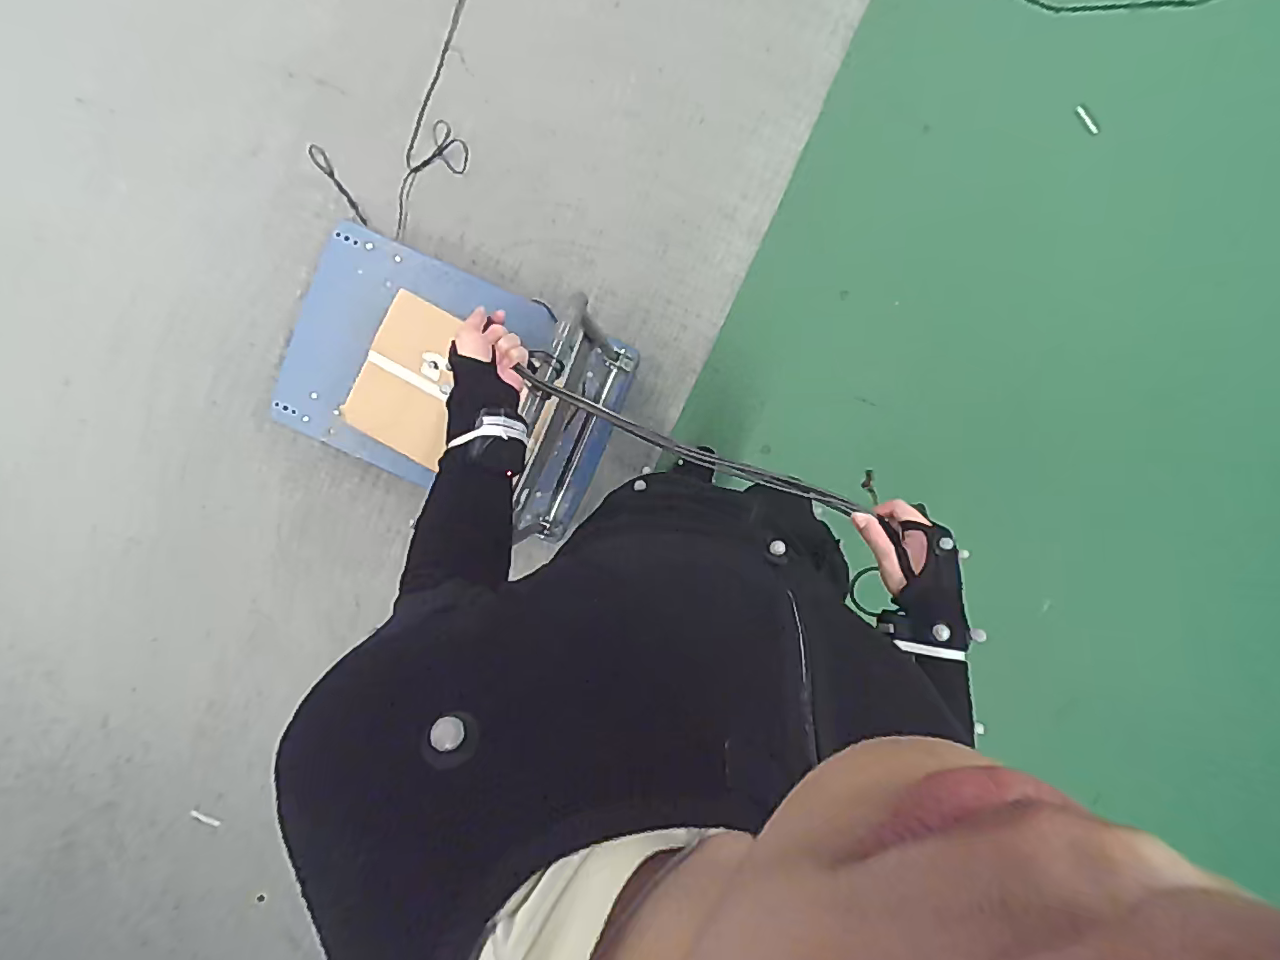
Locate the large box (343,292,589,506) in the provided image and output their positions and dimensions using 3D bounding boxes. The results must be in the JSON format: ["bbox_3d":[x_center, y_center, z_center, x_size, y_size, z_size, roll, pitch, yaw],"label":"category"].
[{"bbox_3d":[-0.379,-0.181,1.279,0.408,0.320,0.320,29,96,-1],"label":"large box"}]
